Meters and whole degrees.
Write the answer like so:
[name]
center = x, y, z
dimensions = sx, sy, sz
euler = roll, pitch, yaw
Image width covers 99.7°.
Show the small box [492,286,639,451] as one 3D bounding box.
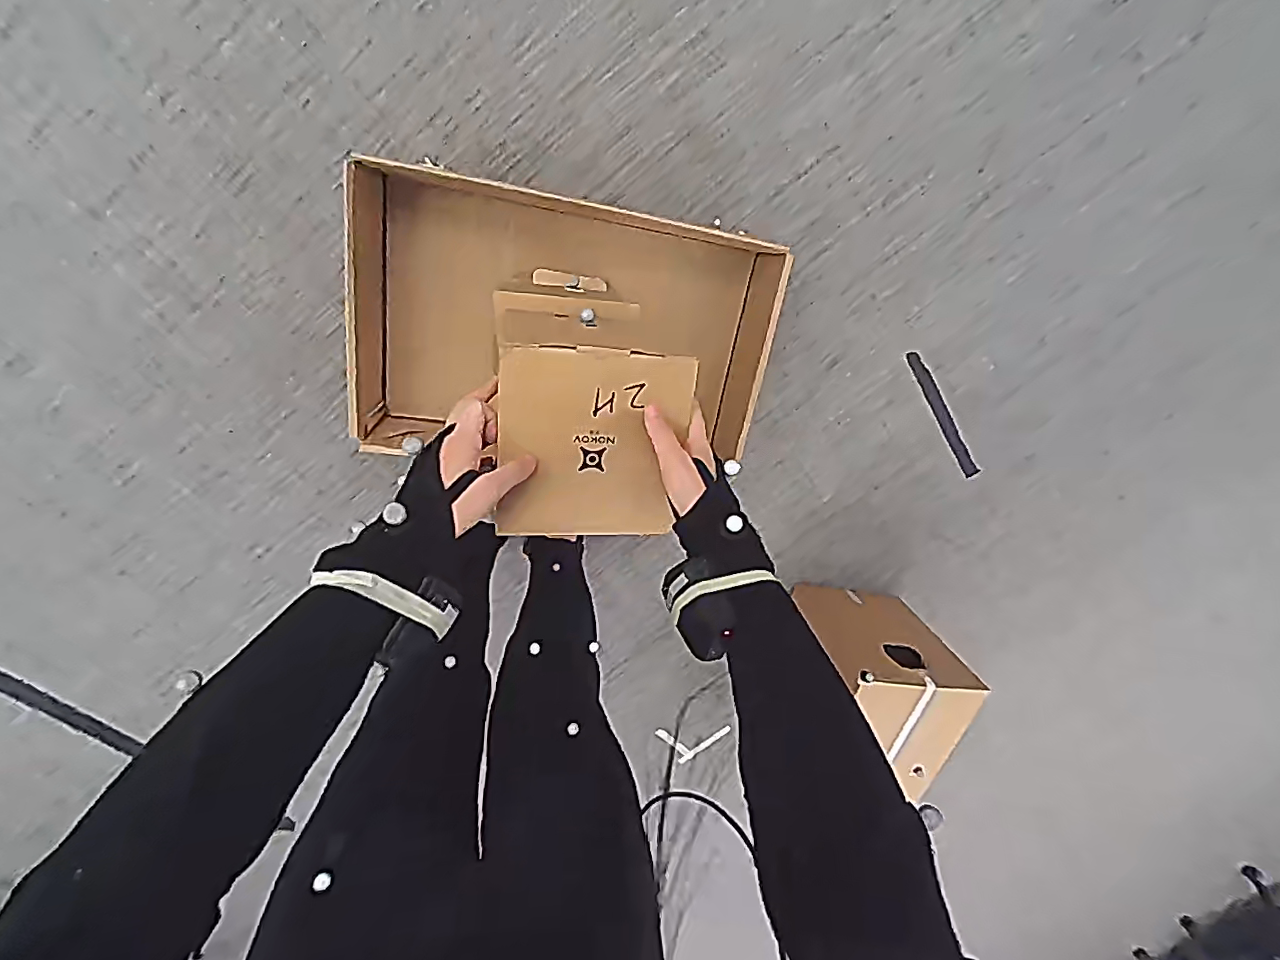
[small box]
center = -0.103, -0.149, 0.706
dimensions = 0.168, 0.176, 0.179
euler = 1, 113, -12
